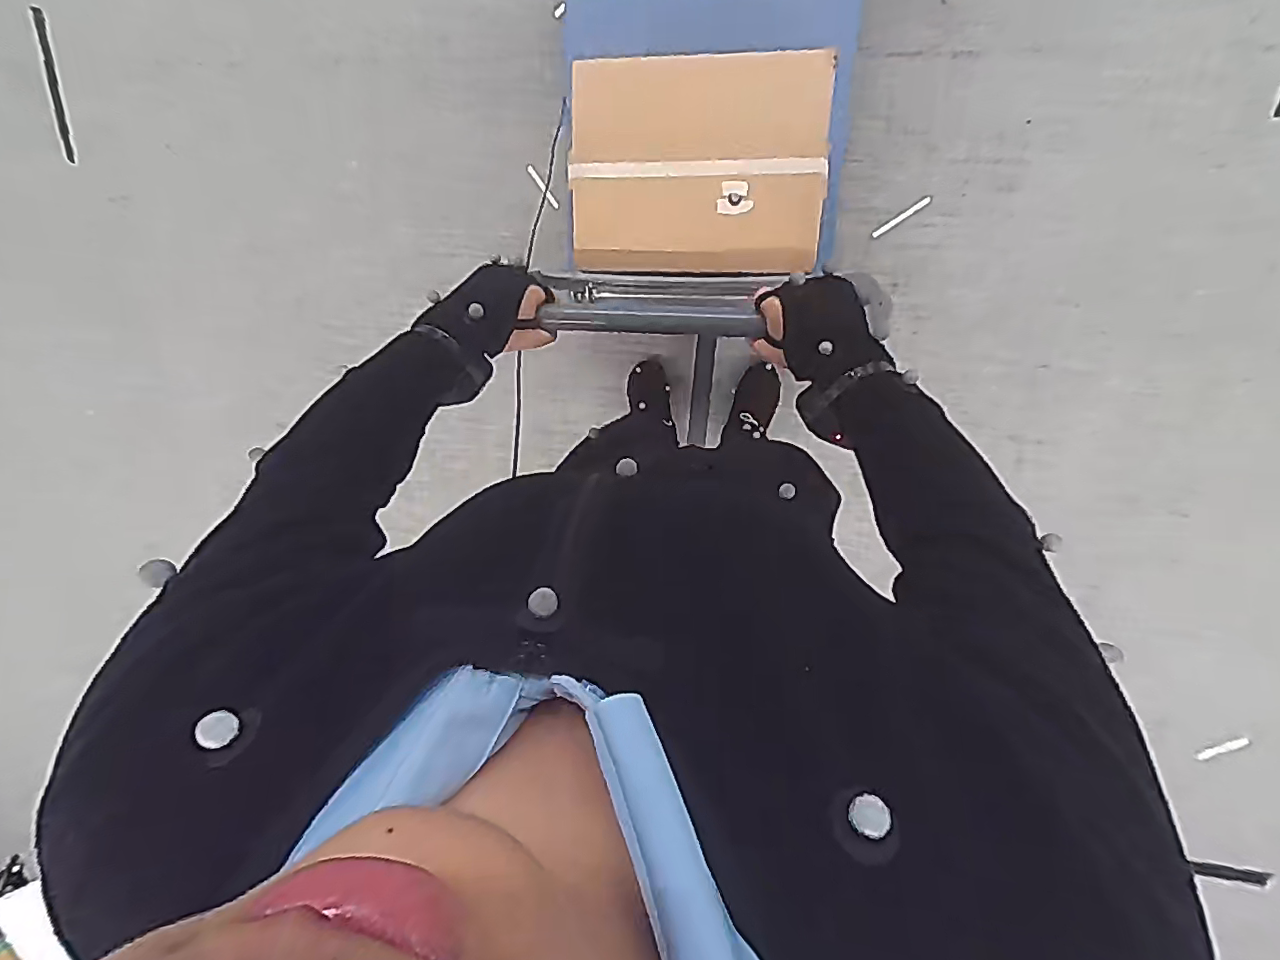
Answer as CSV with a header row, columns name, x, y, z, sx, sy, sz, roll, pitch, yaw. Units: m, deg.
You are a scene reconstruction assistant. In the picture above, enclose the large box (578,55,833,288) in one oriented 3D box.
name,x,y,z,sx,sy,sz,roll,pitch,yaw
large box,0.113,-0.541,1.022,0.408,0.320,0.320,3,106,7
